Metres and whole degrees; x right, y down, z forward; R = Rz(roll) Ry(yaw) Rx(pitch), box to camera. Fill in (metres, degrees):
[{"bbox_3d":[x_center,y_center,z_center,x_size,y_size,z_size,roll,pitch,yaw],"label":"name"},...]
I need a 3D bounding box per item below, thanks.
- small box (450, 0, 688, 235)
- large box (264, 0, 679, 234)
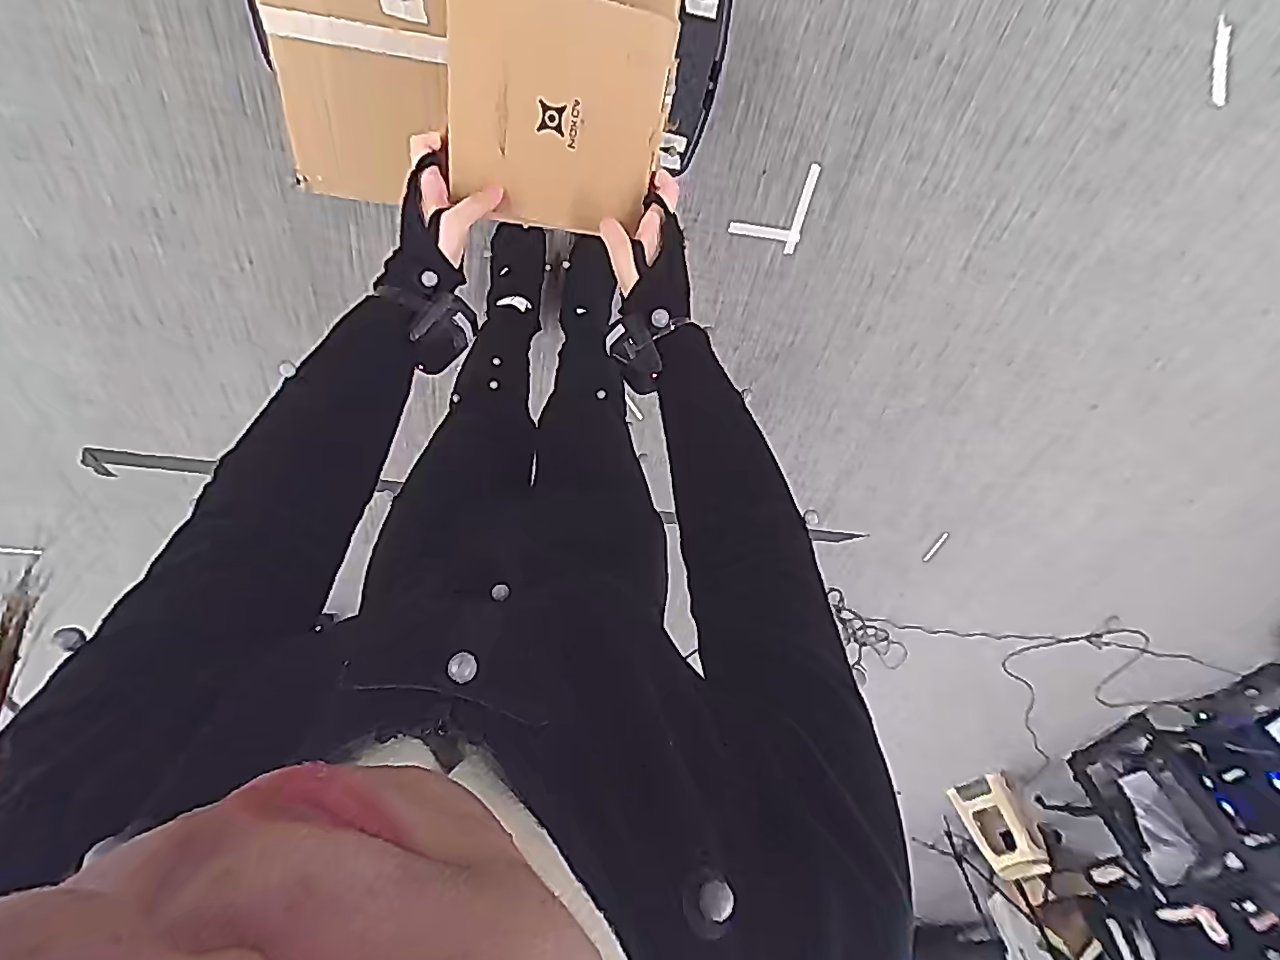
[{"bbox_3d":[-0.070,-0.352,0.500,0.179,0.176,0.168,7,129,-11],"label":"small box"},{"bbox_3d":[-0.173,-0.532,0.663,0.408,0.320,0.320,5,129,-8],"label":"large box"}]
